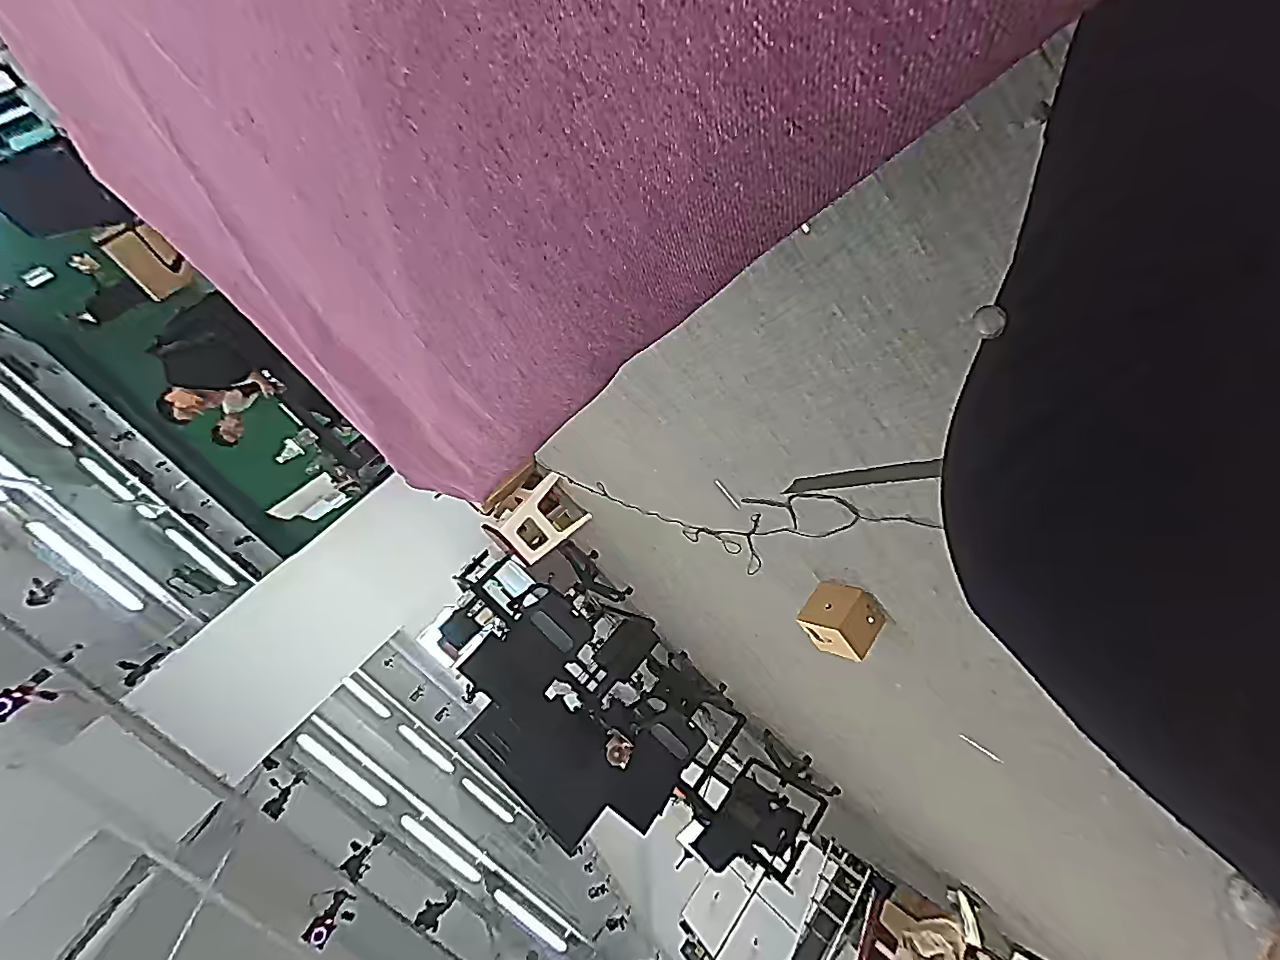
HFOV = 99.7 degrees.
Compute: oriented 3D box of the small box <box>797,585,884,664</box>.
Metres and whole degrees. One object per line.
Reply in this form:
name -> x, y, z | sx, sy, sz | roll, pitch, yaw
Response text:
small box -> 0.658, 0.465, 1.772 | 0.168, 0.176, 0.179 | 50, 156, -19
